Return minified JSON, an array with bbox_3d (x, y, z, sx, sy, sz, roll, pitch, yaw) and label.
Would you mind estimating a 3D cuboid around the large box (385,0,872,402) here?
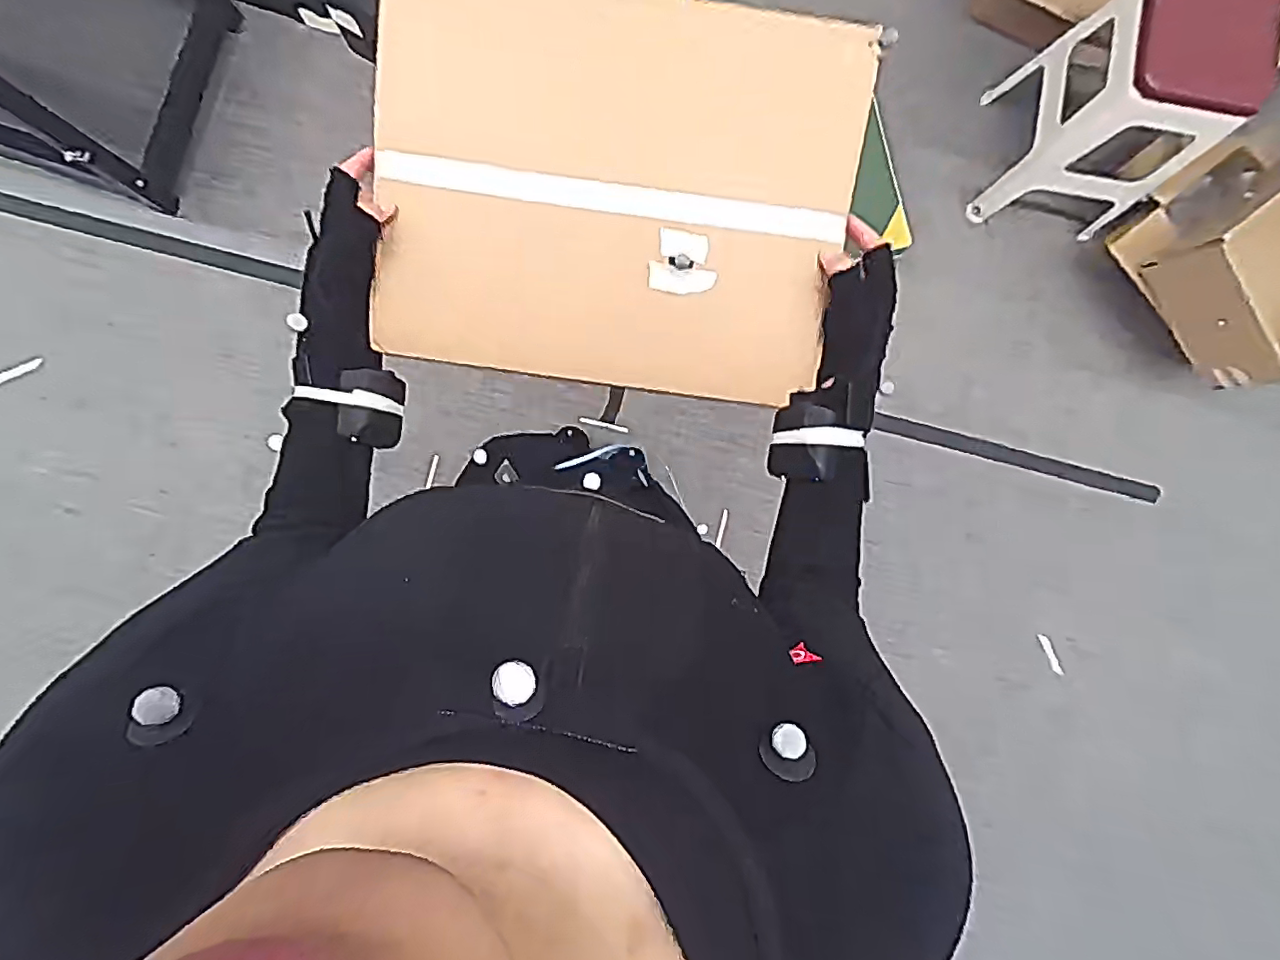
[{"bbox_3d":[-0.024,-0.273,0.619,0.408,0.320,0.320,8,102,-3],"label":"large box"}]
